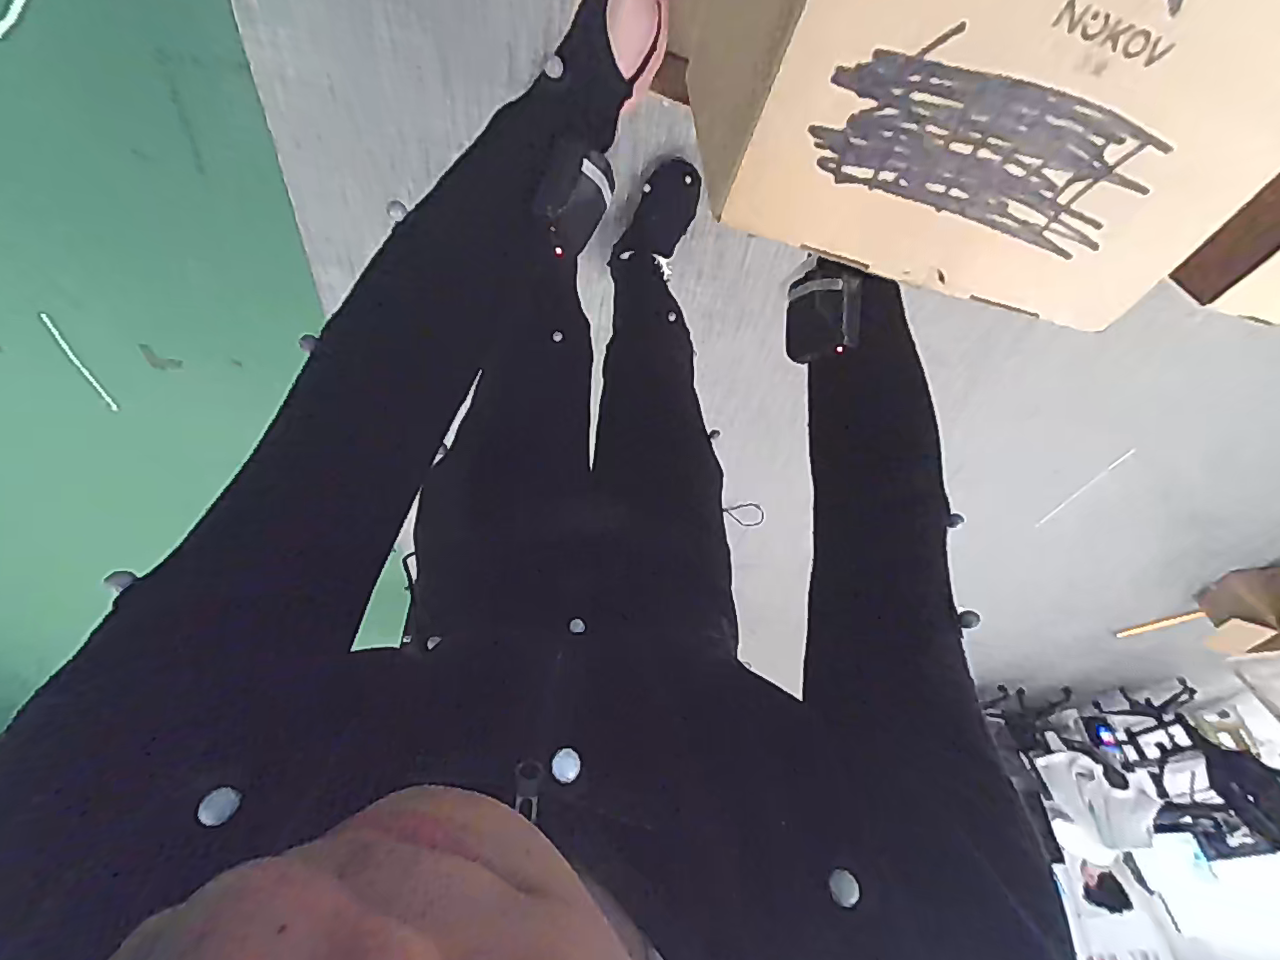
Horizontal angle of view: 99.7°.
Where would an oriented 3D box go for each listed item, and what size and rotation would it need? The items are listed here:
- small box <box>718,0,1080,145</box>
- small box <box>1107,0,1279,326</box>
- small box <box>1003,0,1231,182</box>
[{"bbox_3d":[0.138,-0.321,0.276,0.168,0.176,0.179,11,140,-15],"label":"small box"},{"bbox_3d":[0.427,-0.202,0.309,0.168,0.176,0.179,8,140,-13],"label":"small box"},{"bbox_3d":[0.422,-0.334,0.405,0.168,0.176,0.179,8,142,-14],"label":"small box"}]
